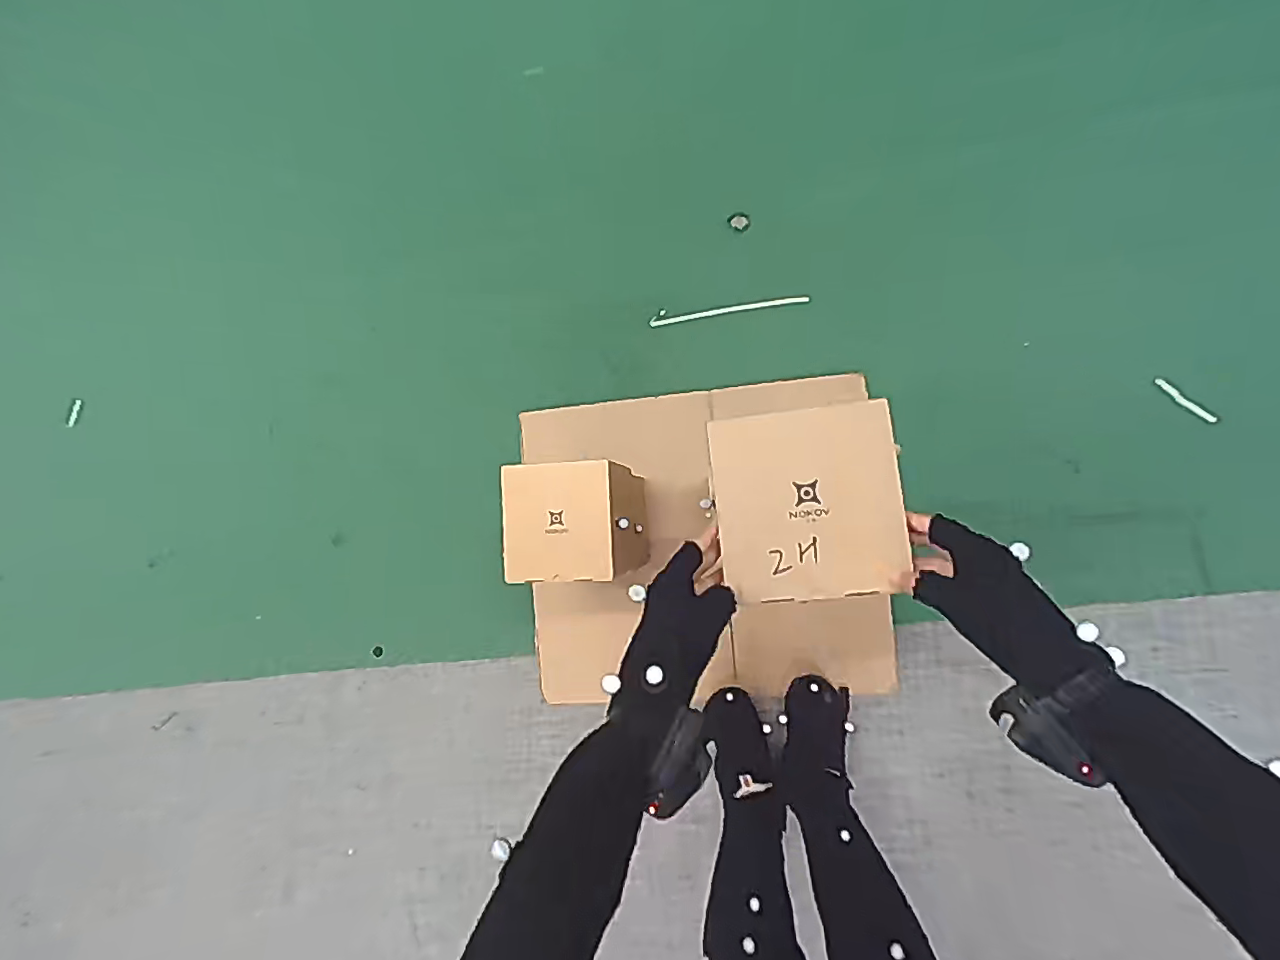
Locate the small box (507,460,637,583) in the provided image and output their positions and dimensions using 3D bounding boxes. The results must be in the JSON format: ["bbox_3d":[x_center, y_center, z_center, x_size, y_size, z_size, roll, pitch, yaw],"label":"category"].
[{"bbox_3d":[-0.100,0.066,0.860,0.168,0.176,0.179,-3,87,11],"label":"small box"}]

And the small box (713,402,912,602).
[{"bbox_3d":[0.166,0.029,0.576,0.168,0.176,0.179,-6,84,9],"label":"small box"}]

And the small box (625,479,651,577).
[{"bbox_3d":[-0.075,0.087,1.020,0.168,0.176,0.179,-4,86,11],"label":"small box"}]
